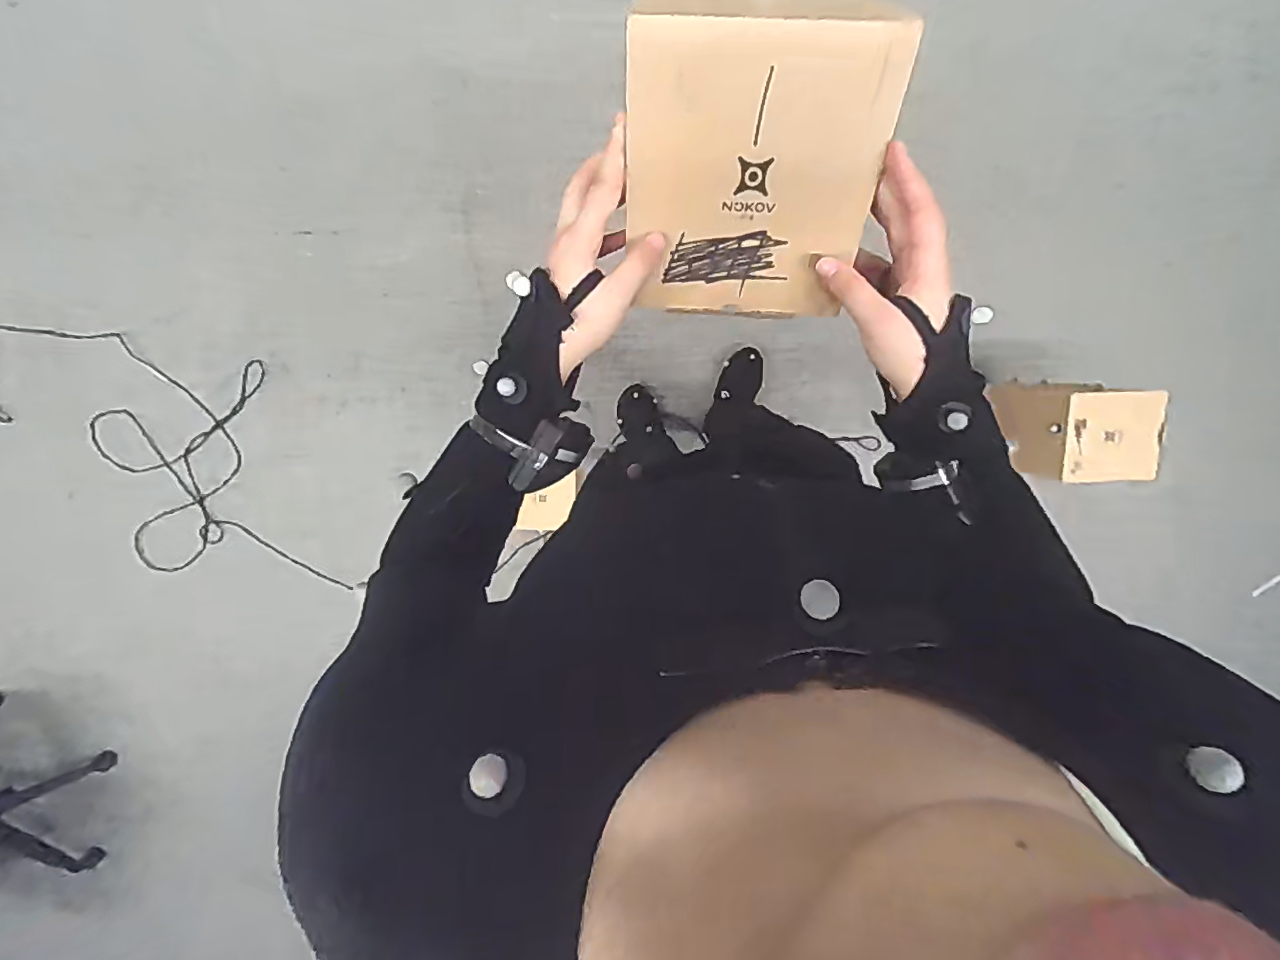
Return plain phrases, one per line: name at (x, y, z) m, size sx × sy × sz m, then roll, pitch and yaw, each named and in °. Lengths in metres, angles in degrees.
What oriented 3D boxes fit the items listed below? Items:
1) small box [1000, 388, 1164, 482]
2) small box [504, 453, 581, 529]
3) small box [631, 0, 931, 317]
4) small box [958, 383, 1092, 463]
small box at (0.855, -0.093, 1.063) m, size 0.179 × 0.176 × 0.168 m, roll -2°, pitch 101°, yaw -1°
small box at (-0.248, 0.023, 1.408) m, size 0.179 × 0.176 × 0.168 m, roll 2°, pitch 101°, yaw 0°
small box at (0.082, -0.248, 0.412) m, size 0.168 × 0.176 × 0.179 m, roll 3°, pitch 136°, yaw 0°
small box at (0.860, -0.134, 1.222) m, size 0.179 × 0.176 × 0.168 m, roll -2°, pitch 101°, yaw 1°
